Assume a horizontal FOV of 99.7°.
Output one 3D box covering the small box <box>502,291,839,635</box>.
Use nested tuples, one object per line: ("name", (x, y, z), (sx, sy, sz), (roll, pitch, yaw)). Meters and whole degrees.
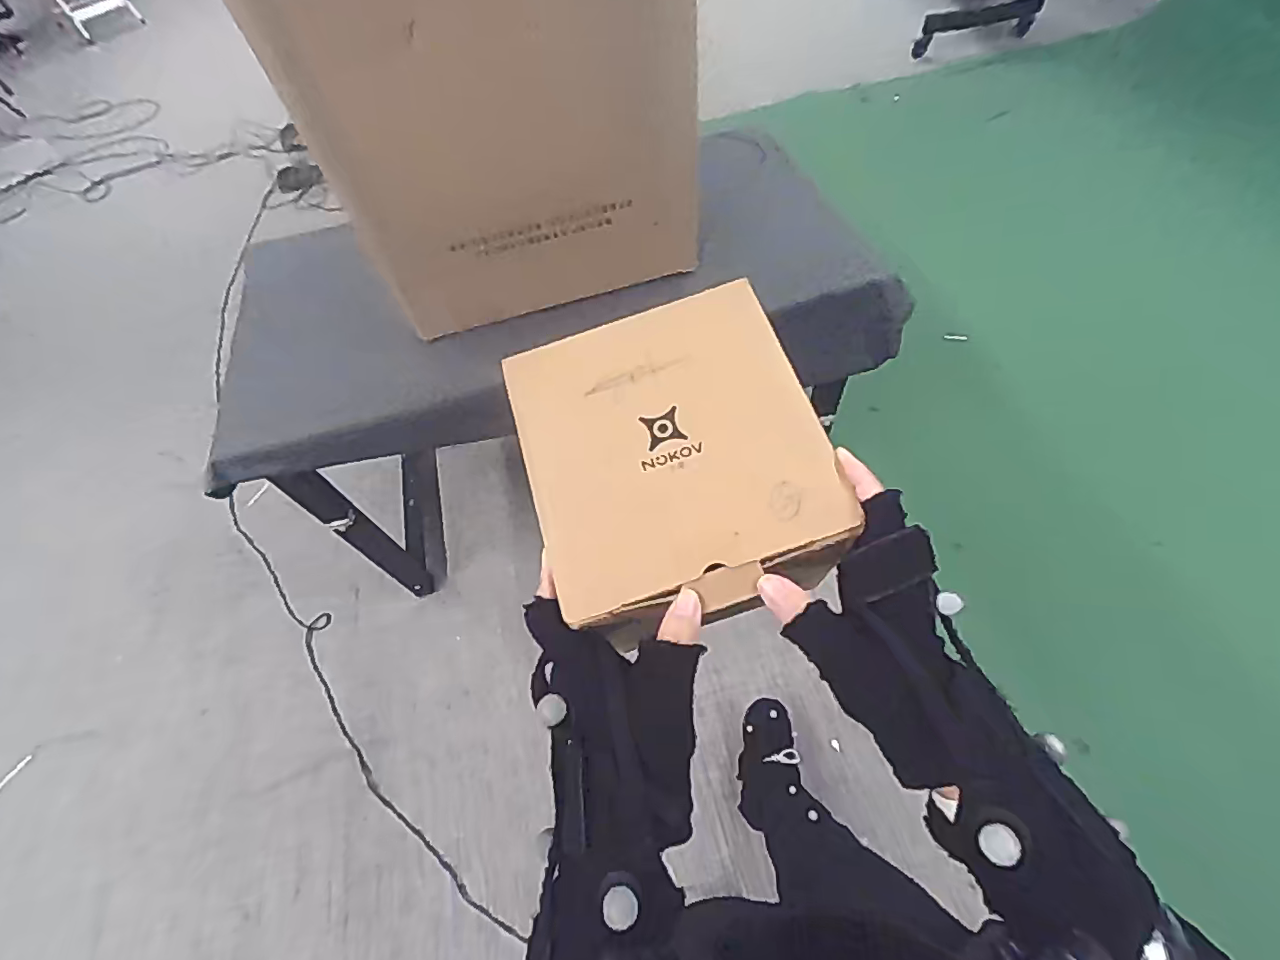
("small box", (0.019, 0.005, 0.395), (0.168, 0.176, 0.179), (-18, 66, 0))
